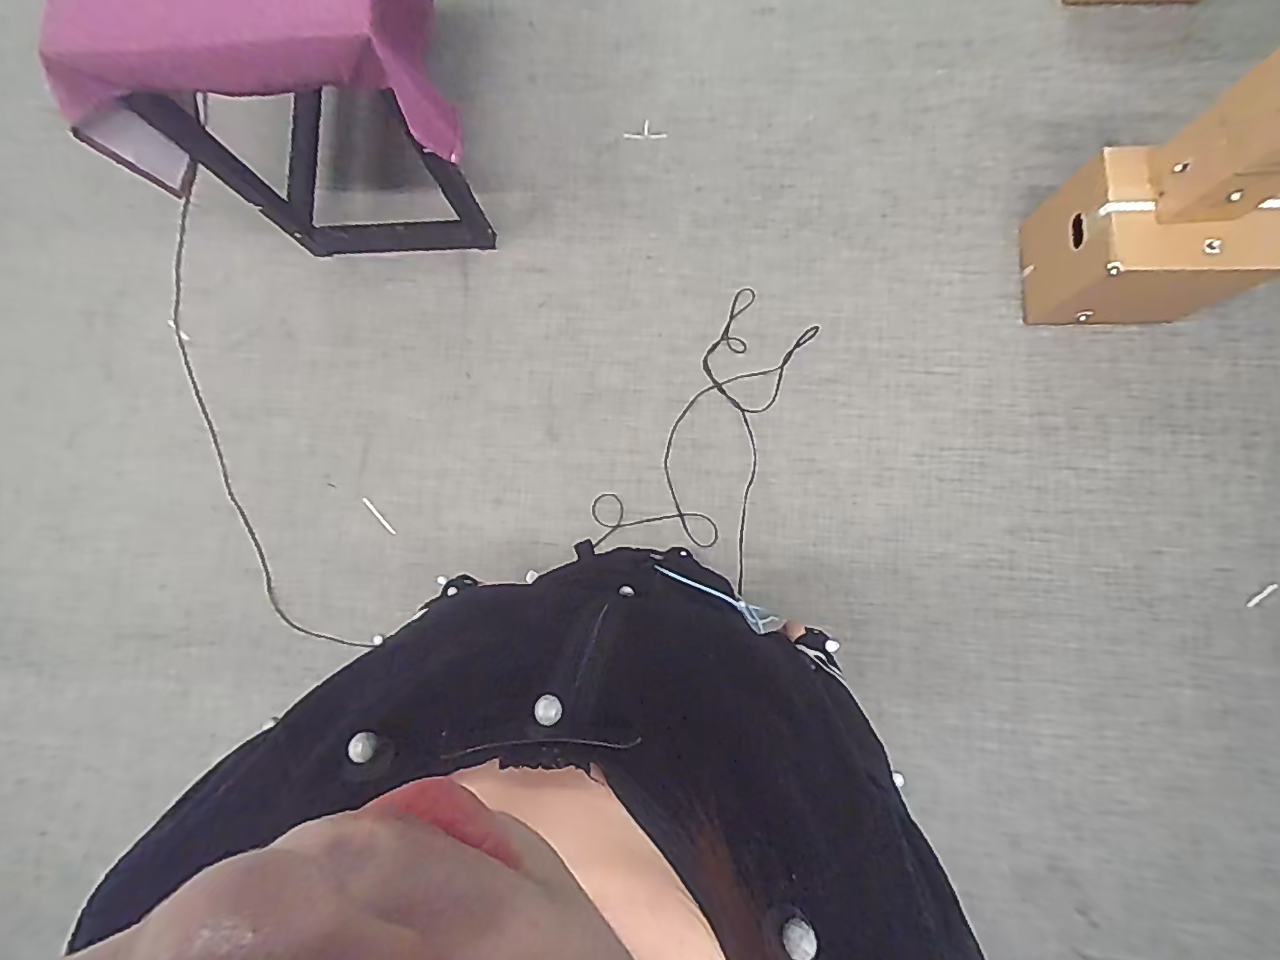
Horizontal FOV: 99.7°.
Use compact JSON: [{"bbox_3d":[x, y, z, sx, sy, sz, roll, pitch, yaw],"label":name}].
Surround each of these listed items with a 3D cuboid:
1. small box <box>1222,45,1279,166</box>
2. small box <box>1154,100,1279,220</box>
[{"bbox_3d":[1.250,-0.707,0.998,0.168,0.176,0.179,-2,82,2],"label":"small box"},{"bbox_3d":[1.261,-0.684,1.161,0.179,0.176,0.168,-2,82,3],"label":"small box"}]
